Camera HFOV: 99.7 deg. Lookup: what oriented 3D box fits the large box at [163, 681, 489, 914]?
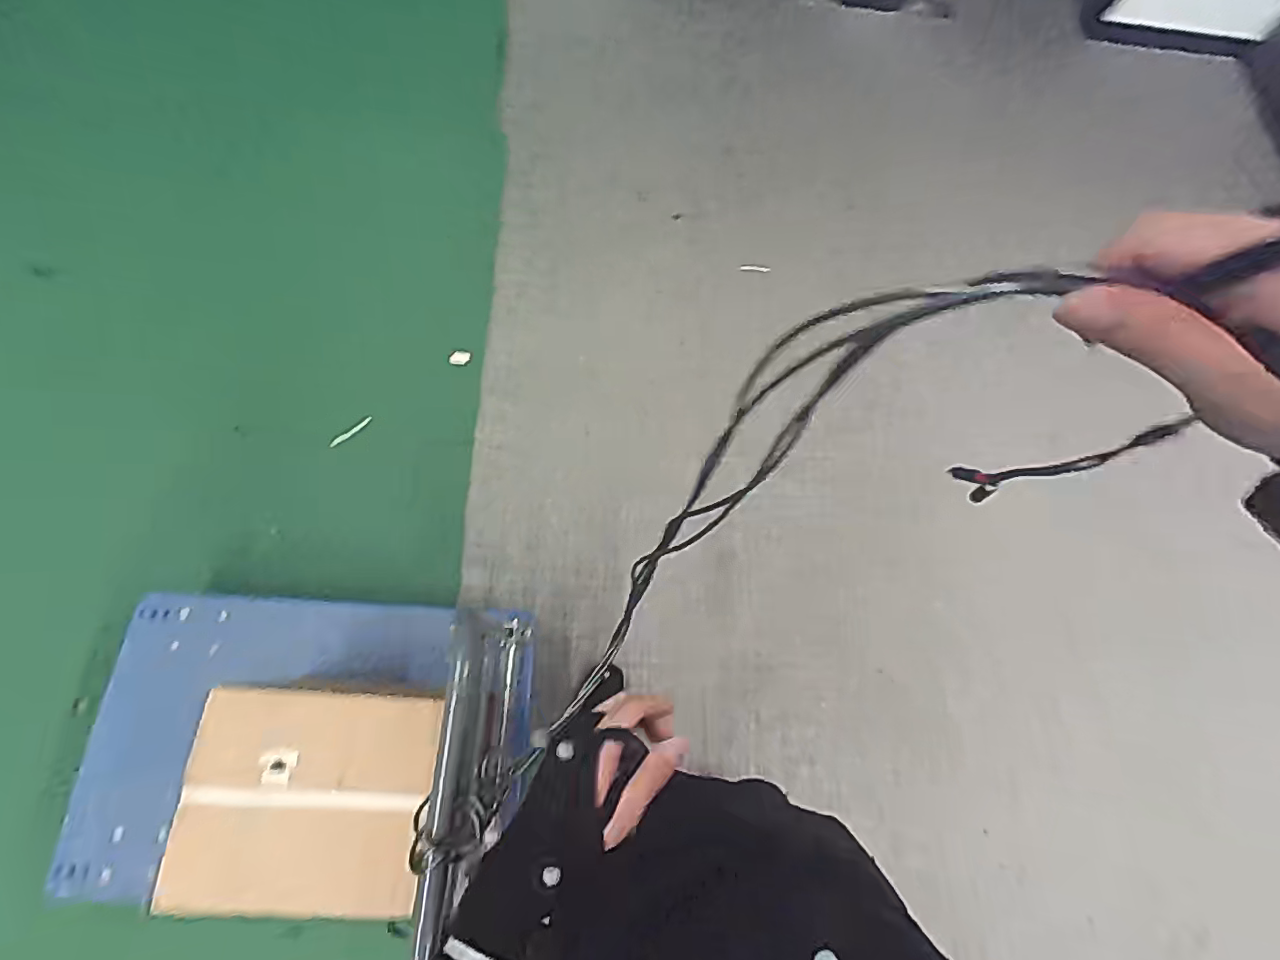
[{"bbox_3d":[-0.522,0.554,1.007,0.408,0.320,0.320,5,72,-4],"label":"large box"}]
